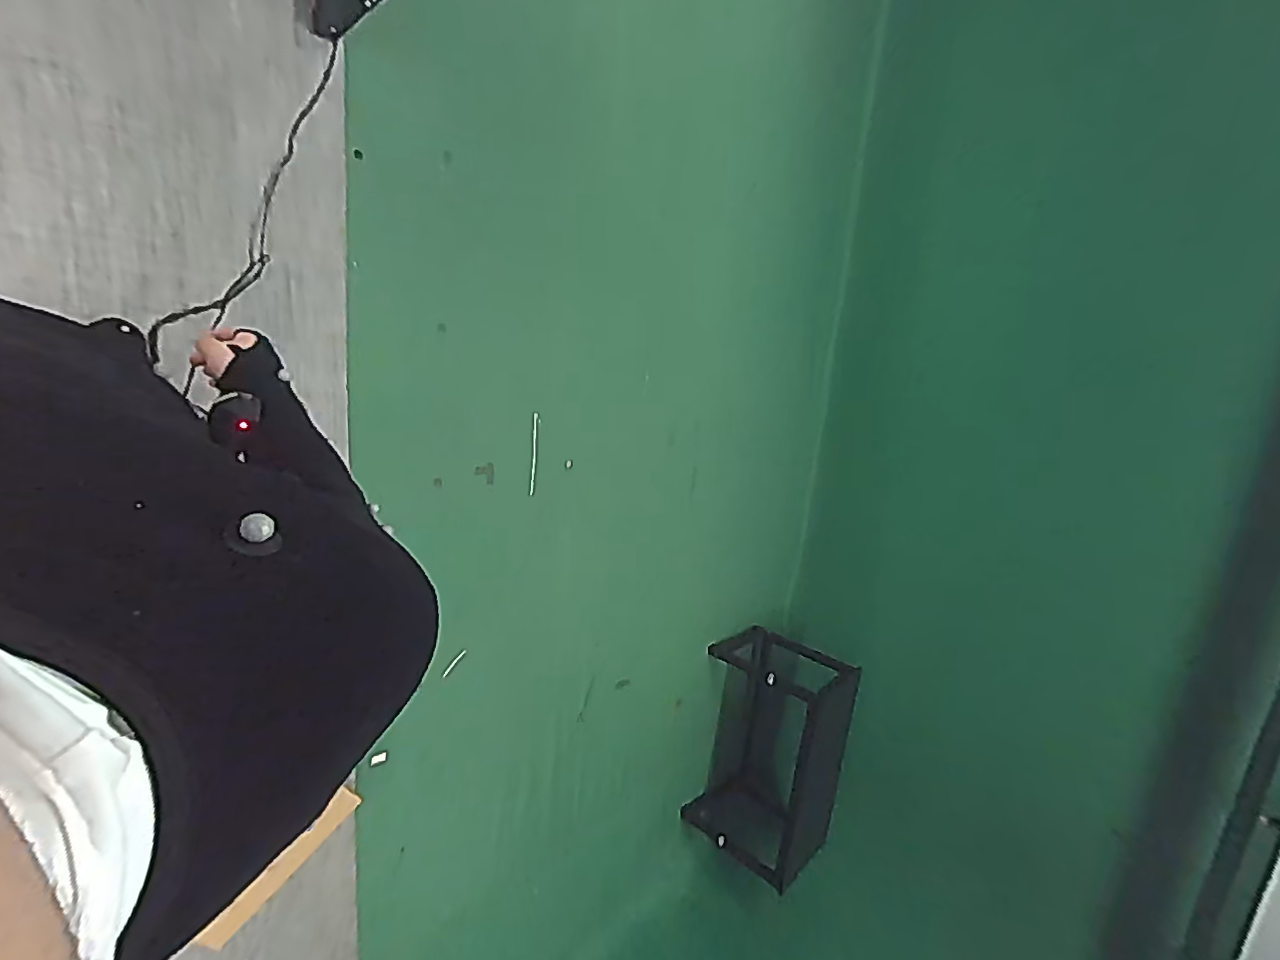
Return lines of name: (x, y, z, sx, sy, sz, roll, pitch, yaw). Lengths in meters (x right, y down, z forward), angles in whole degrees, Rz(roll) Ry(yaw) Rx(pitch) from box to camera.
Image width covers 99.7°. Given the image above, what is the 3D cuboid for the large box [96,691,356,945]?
large box: (-1.055, 0.851, 1.401, 0.408, 0.320, 0.320, -46, 133, -31)
